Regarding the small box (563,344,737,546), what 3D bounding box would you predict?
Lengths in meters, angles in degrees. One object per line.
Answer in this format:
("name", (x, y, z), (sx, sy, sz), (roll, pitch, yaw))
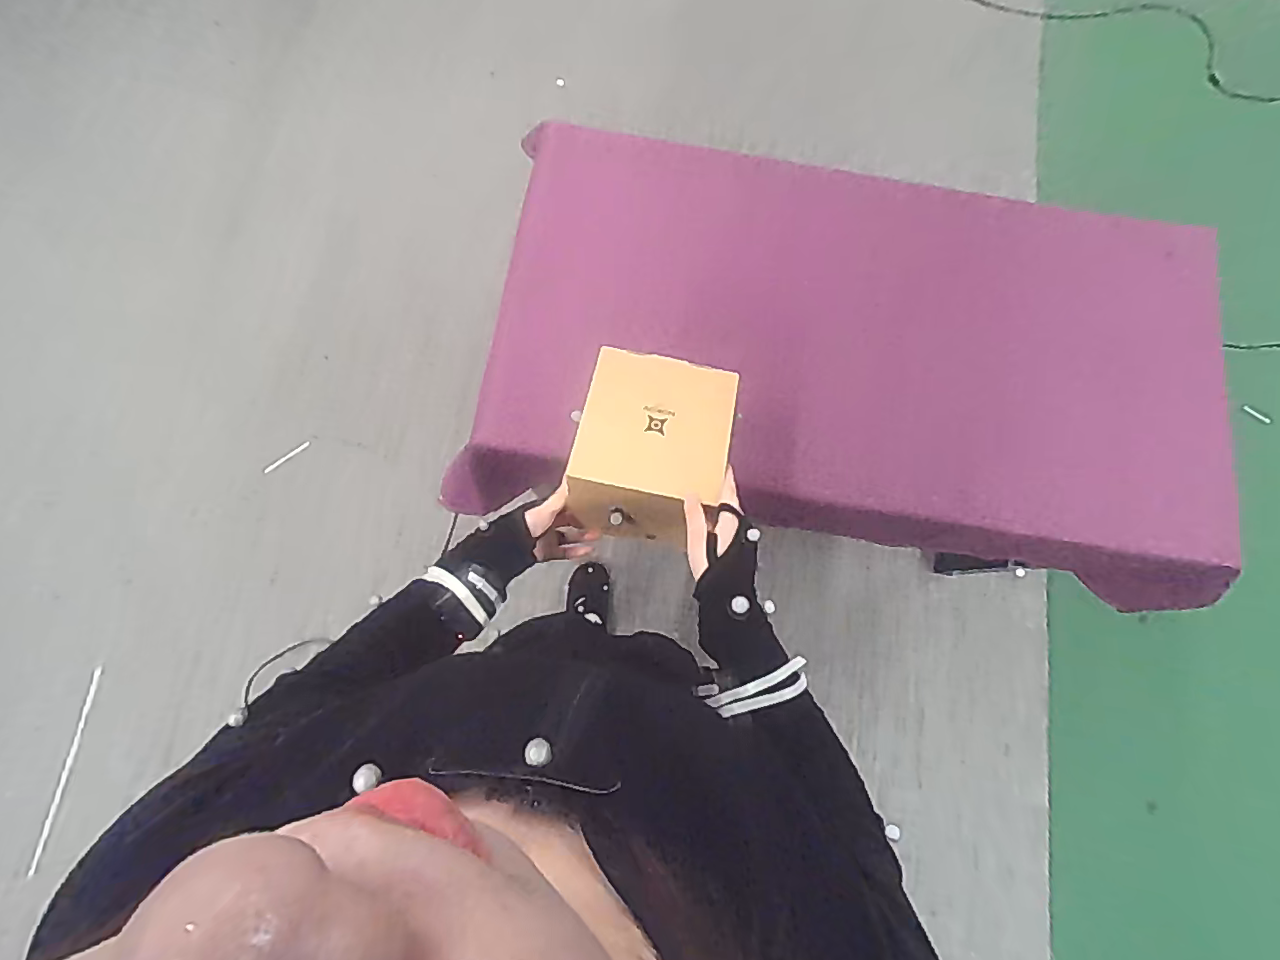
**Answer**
("small box", (0.012, -0.034, 0.666), (0.168, 0.176, 0.179), (12, 64, 1))
